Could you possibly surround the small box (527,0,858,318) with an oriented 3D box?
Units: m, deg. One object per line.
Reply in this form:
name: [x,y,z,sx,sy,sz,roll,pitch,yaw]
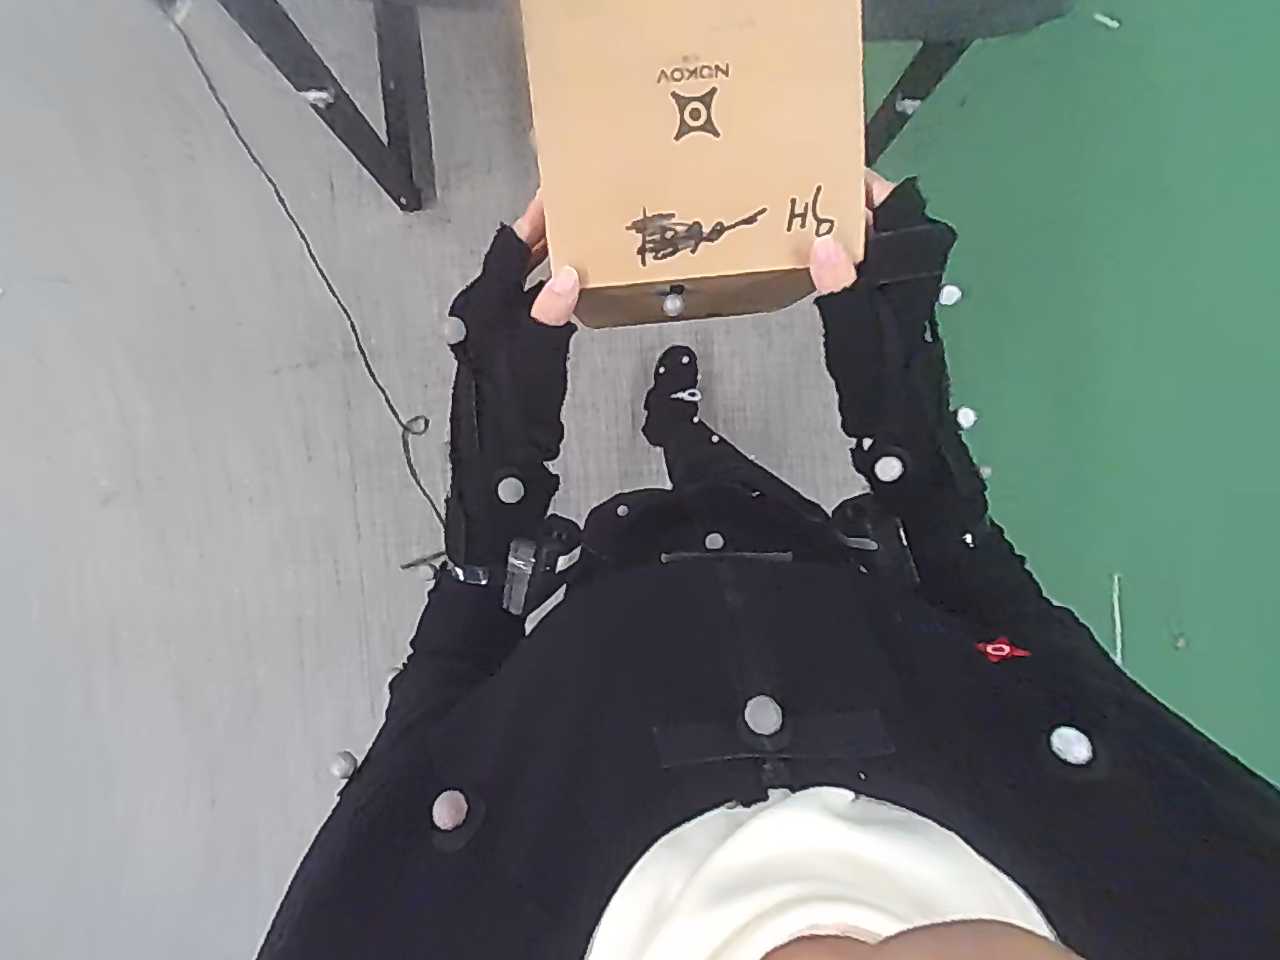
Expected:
small box: [0.028,-0.213,0.353,0.168,0.176,0.179,-4,98,2]
